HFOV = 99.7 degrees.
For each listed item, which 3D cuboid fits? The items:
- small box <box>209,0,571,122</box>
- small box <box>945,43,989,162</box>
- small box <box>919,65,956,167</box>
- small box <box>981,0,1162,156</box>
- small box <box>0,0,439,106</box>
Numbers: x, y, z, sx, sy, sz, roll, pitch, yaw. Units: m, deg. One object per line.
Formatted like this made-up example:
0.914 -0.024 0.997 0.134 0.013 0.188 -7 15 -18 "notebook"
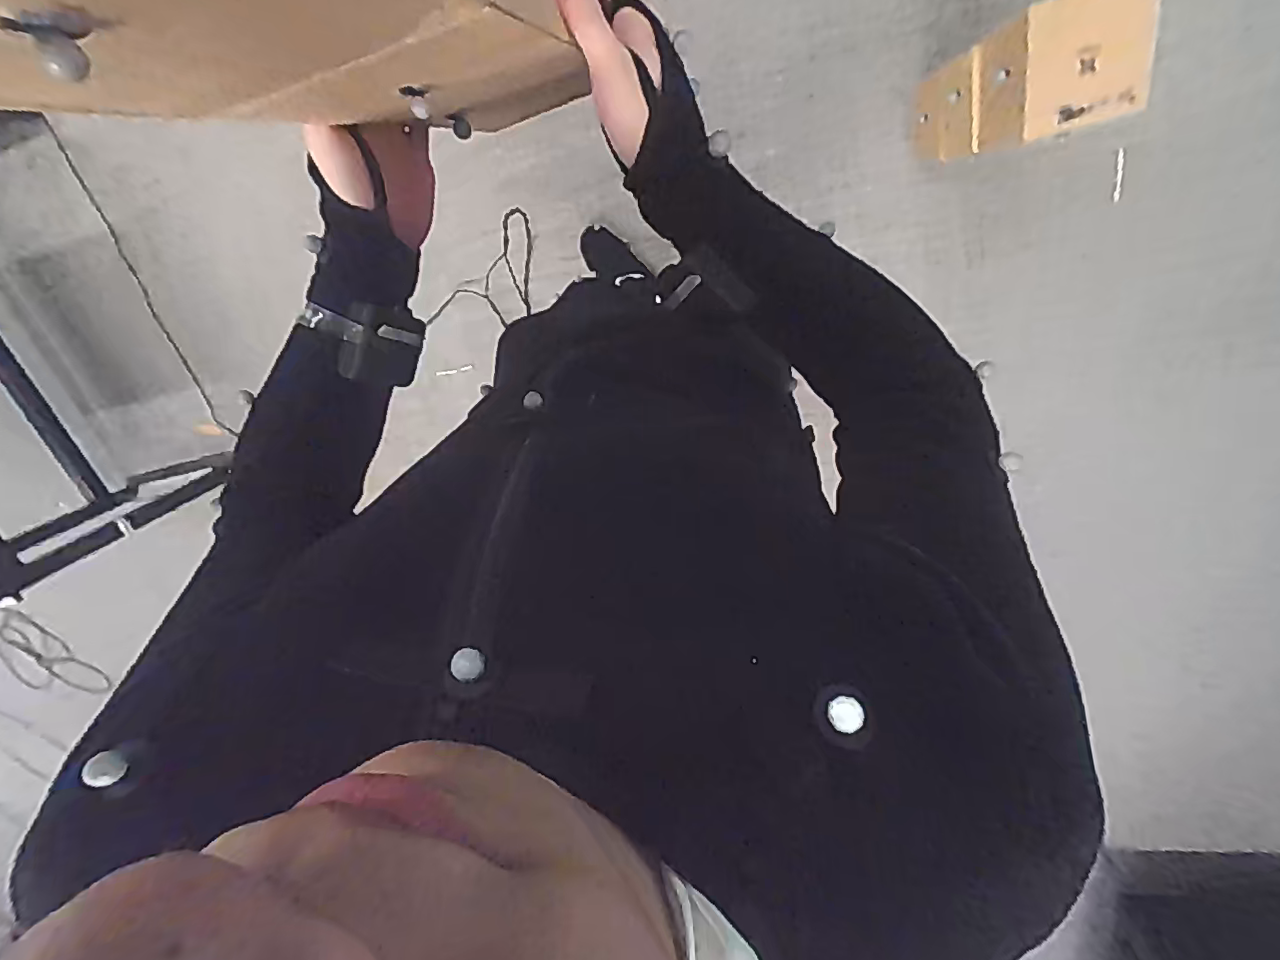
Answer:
-0.153 -0.318 0.299 0.179 0.176 0.168 -5 119 19 "small box"
0.683 -0.709 1.003 0.179 0.176 0.168 -9 113 13 "small box"
0.707 -0.780 1.147 0.179 0.176 0.168 -7 114 13 "small box"
0.664 -0.640 0.855 0.168 0.176 0.179 -8 113 13 "small box"
-0.192 -0.235 0.164 0.179 0.176 0.168 -5 119 18 "small box"
